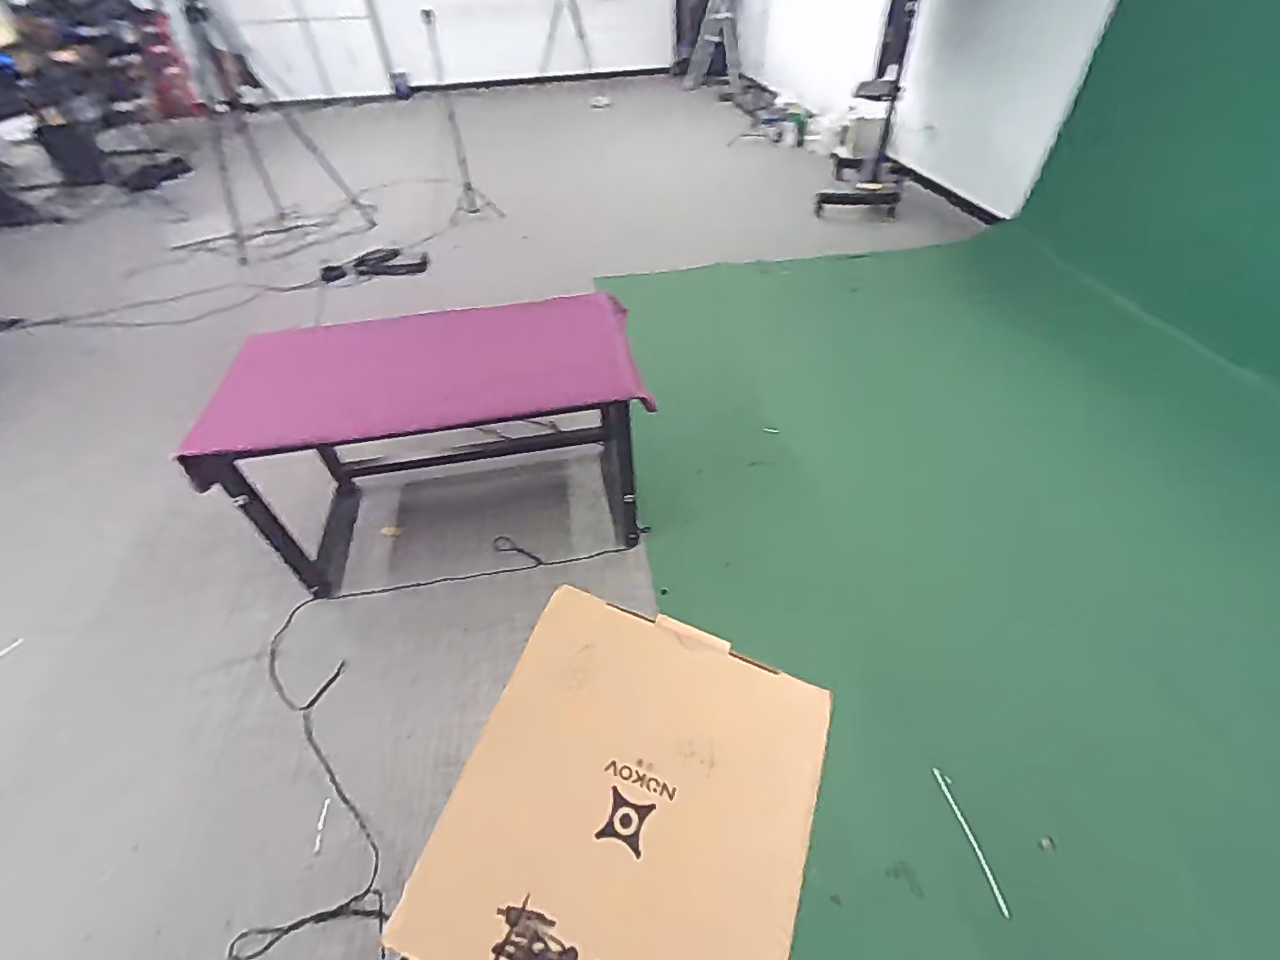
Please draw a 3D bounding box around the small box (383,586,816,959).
[{"bbox_3d":[-0.013,0.199,0.331,0.168,0.176,0.179,20,57,9],"label":"small box"}]
